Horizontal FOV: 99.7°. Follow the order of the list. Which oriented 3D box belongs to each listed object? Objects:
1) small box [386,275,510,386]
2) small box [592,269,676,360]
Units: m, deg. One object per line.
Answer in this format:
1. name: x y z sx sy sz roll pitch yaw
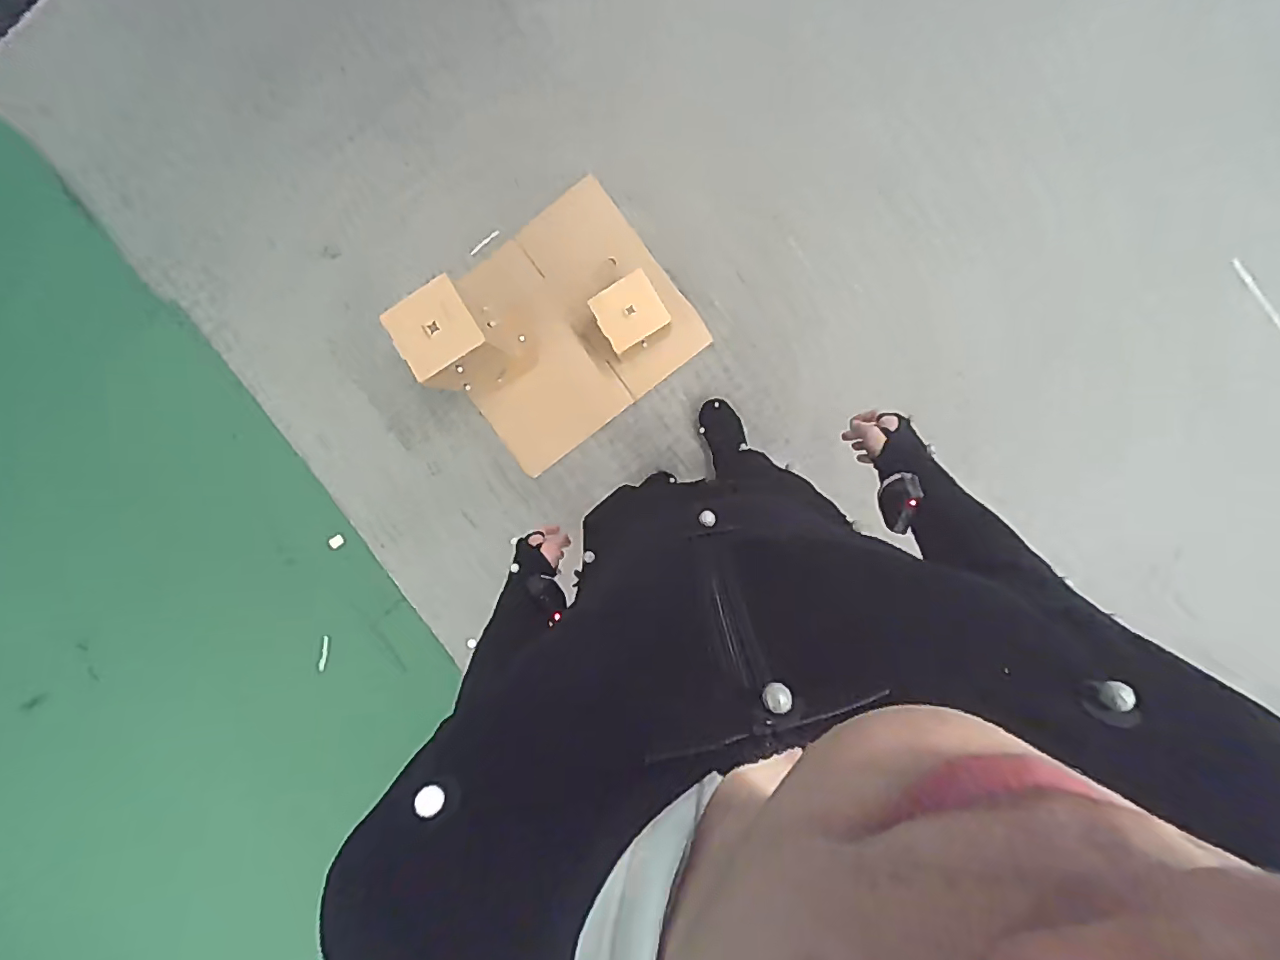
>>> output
1. small box: -0.425 -0.327 1.227 0.179 0.176 0.168 -30 93 5
2. small box: -0.013 -0.457 1.519 0.179 0.176 0.168 -31 92 6
